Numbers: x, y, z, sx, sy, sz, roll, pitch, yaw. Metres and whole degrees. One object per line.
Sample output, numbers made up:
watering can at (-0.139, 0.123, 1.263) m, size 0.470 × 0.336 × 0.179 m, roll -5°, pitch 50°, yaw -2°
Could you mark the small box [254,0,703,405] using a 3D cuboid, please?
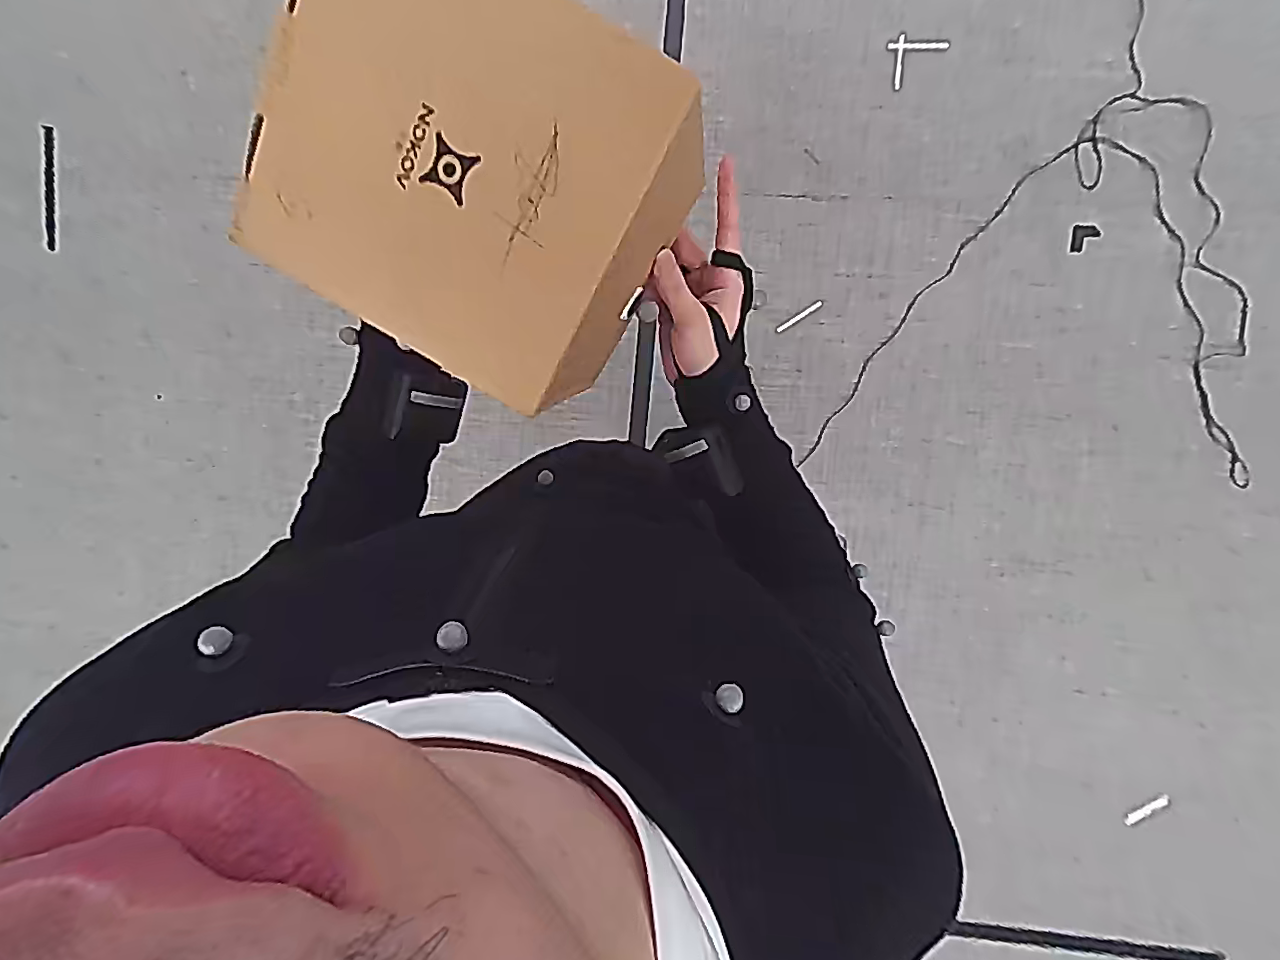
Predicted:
small box at (-0.076, -0.168, 0.332) m, size 0.179 × 0.176 × 0.168 m, roll 29°, pitch 109°, yaw -3°
